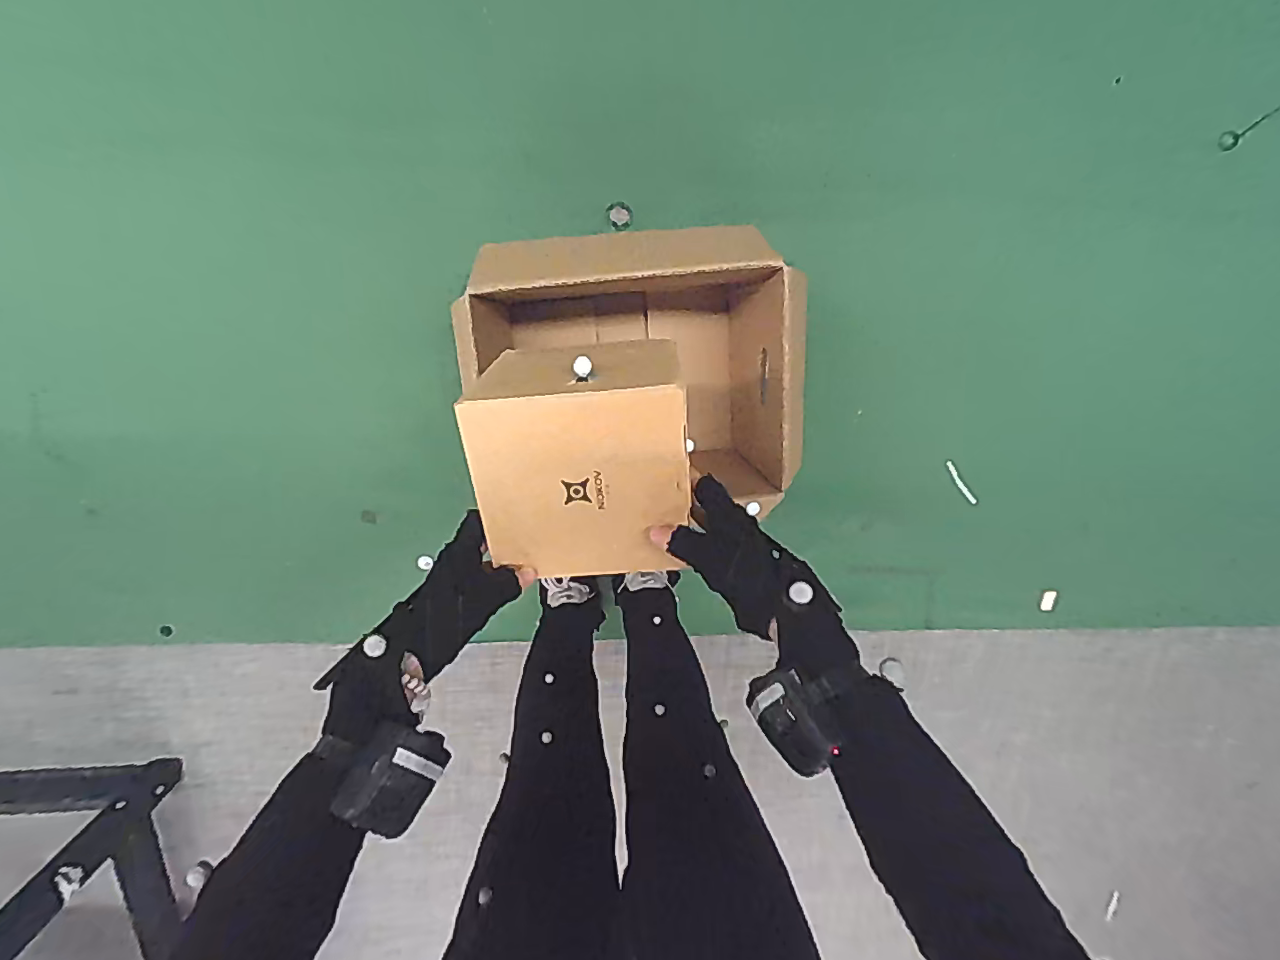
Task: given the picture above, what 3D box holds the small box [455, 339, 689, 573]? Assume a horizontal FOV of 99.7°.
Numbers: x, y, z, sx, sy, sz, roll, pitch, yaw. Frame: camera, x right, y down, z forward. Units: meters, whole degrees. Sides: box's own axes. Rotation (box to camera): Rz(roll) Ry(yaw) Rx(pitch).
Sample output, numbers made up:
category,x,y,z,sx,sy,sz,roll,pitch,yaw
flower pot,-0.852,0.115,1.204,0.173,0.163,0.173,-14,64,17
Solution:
category,x,y,z,sx,sy,sz,roll,pitch,yaw
small box,-0.049,-0.031,0.511,0.179,0.176,0.168,-5,116,1
